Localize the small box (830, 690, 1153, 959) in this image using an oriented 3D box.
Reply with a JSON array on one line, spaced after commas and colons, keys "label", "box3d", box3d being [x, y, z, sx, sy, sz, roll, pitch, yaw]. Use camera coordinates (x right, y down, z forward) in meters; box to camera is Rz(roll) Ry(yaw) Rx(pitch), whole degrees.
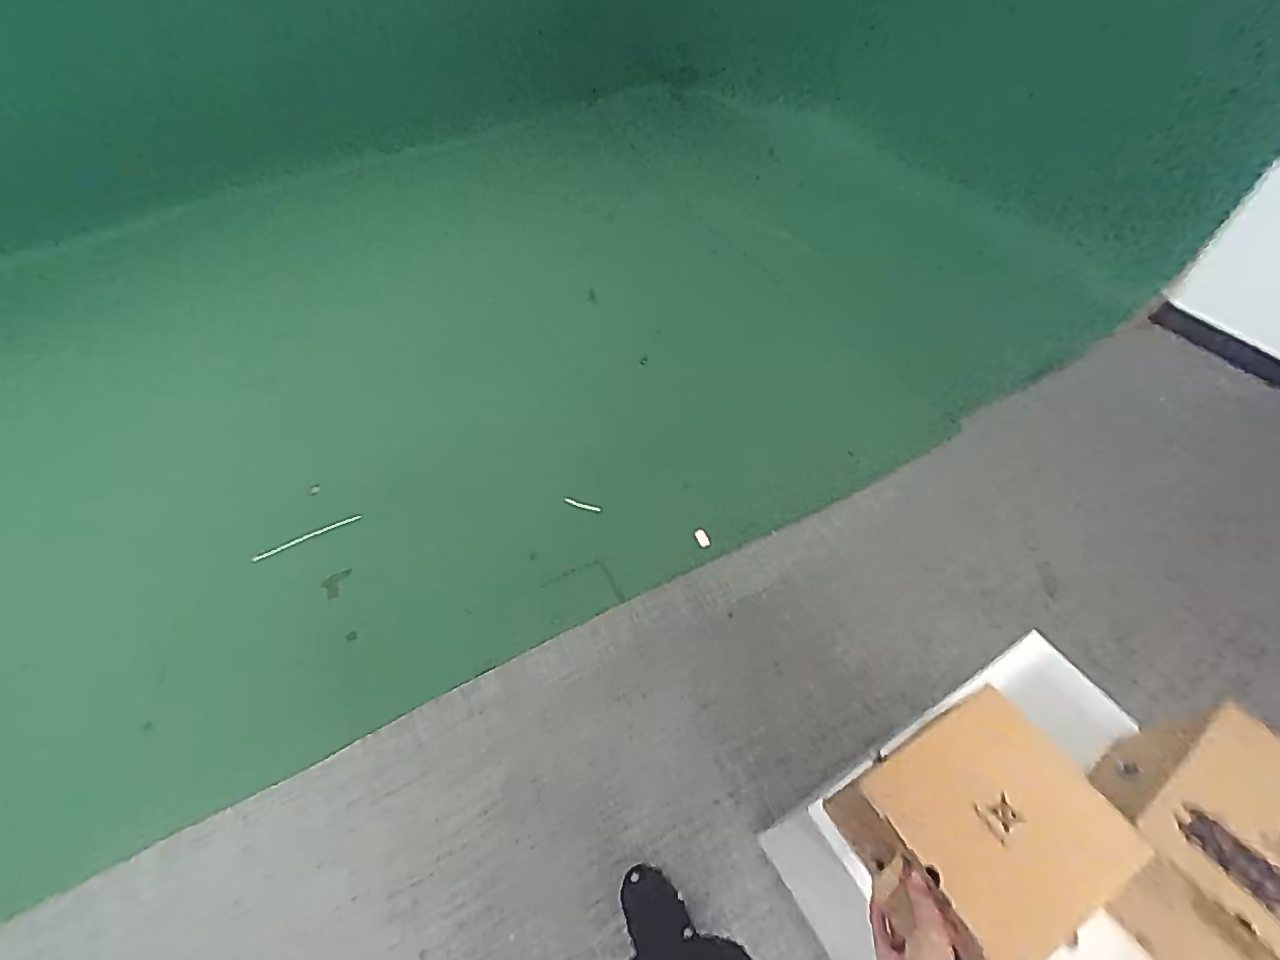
[{"label": "small box", "box3d": [0.320, 0.344, 0.535, 0.179, 0.176, 0.168, -26, 56, -15]}]
